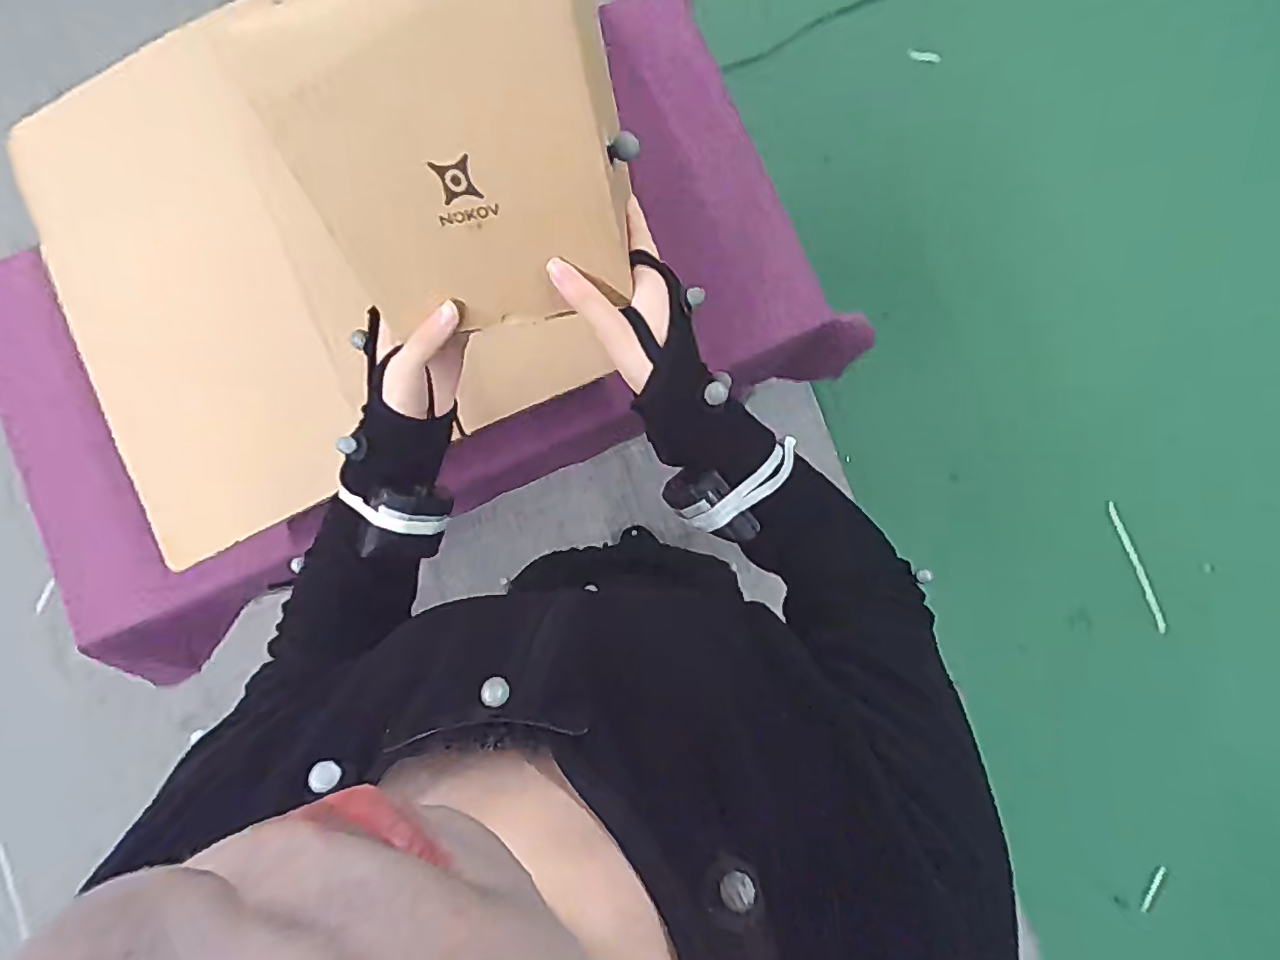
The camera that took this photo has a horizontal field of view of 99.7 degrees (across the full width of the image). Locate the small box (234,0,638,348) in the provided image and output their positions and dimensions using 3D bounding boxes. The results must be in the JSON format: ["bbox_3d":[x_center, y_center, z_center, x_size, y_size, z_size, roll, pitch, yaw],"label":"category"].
[{"bbox_3d":[-0.098,-0.218,0.356,0.168,0.179,0.176,-7,50,8],"label":"small box"}]
